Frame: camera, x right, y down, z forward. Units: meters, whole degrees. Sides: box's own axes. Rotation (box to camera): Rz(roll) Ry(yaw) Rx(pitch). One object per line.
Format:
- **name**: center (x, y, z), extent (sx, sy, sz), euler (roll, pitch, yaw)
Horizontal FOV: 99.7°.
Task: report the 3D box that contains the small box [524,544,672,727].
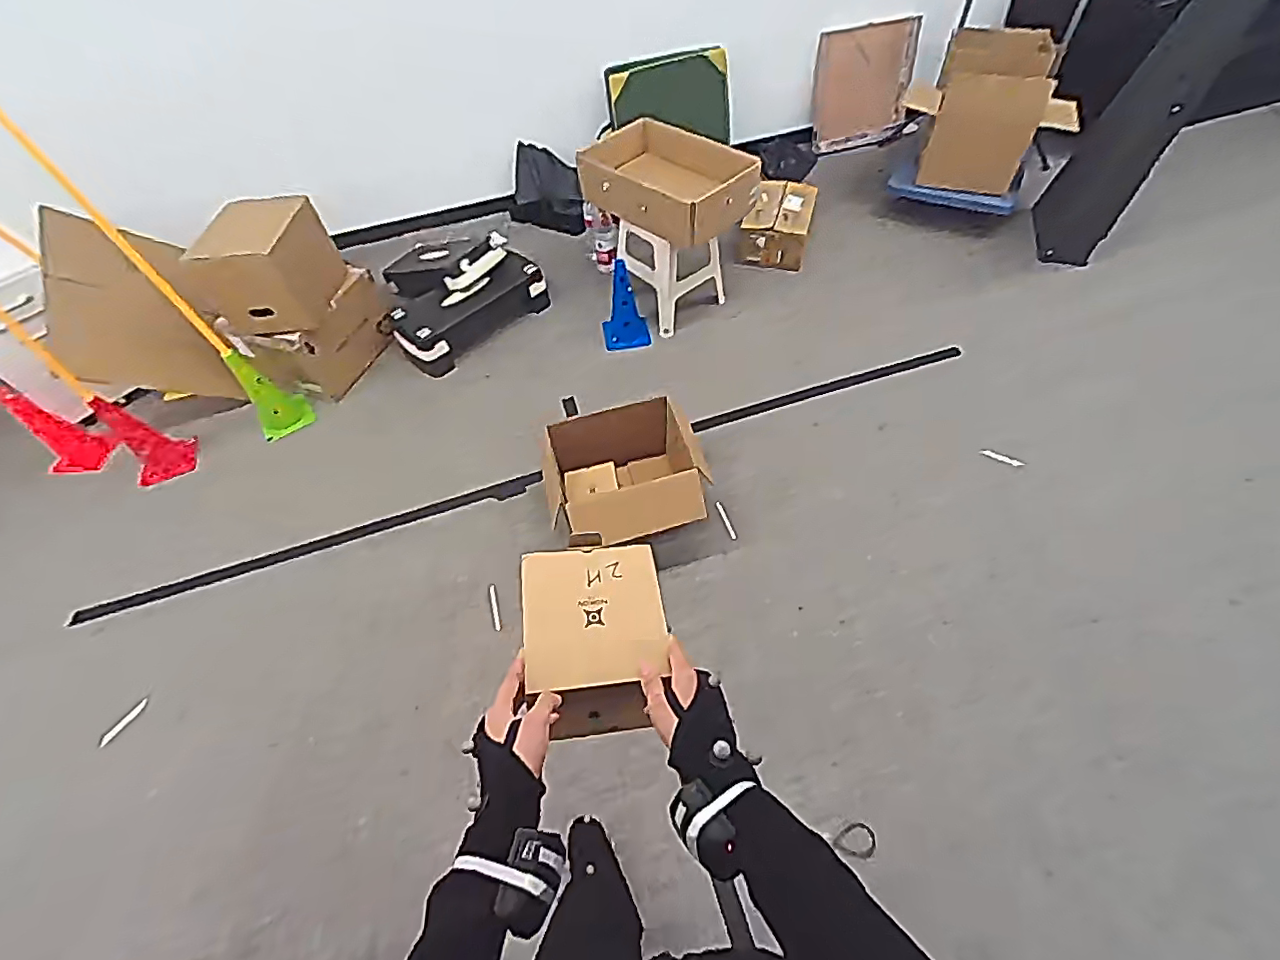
- **small box**: center (-0.062, 0.206, 0.703), extent (0.168, 0.176, 0.179), euler (-2, 48, -10)
